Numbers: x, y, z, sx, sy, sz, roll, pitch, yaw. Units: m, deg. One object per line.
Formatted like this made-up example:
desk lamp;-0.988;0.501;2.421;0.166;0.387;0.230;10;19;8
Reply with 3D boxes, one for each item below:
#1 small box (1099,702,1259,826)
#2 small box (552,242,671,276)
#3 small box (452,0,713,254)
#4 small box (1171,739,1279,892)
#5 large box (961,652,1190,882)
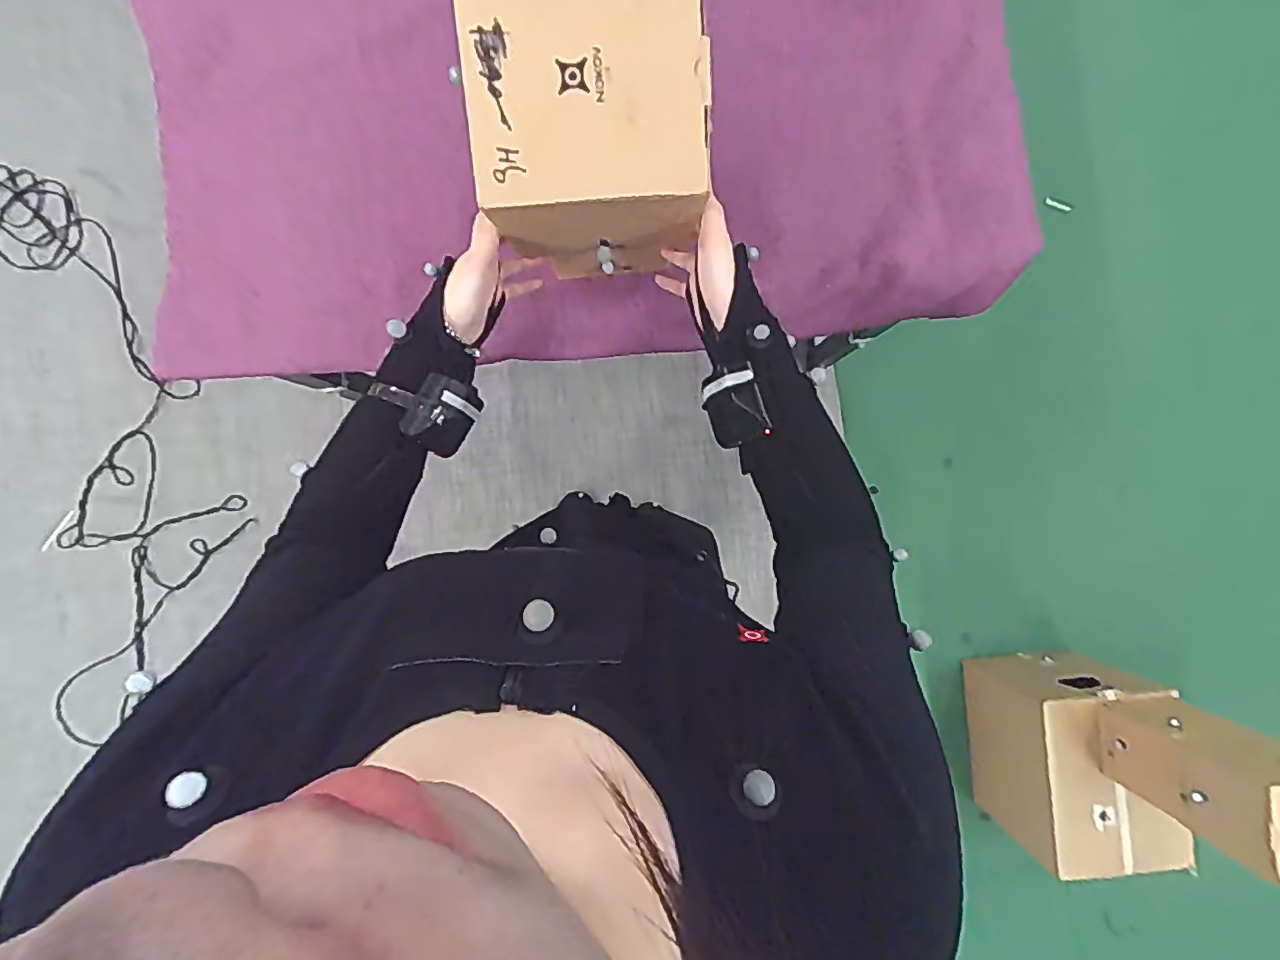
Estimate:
small box;1.103;0.574;1.114;0.179;0.176;0.168;-4;90;-1
small box;-0.047;-0.387;0.701;0.168;0.176;0.179;-5;89;0
small box;-0.041;-0.296;0.451;0.179;0.176;0.168;-3;100;-1
small box;1.103;0.575;0.949;0.179;0.176;0.168;-5;90;0
large box;1.059;0.687;1.354;0.320;0.320;0.408;-5;90;0
